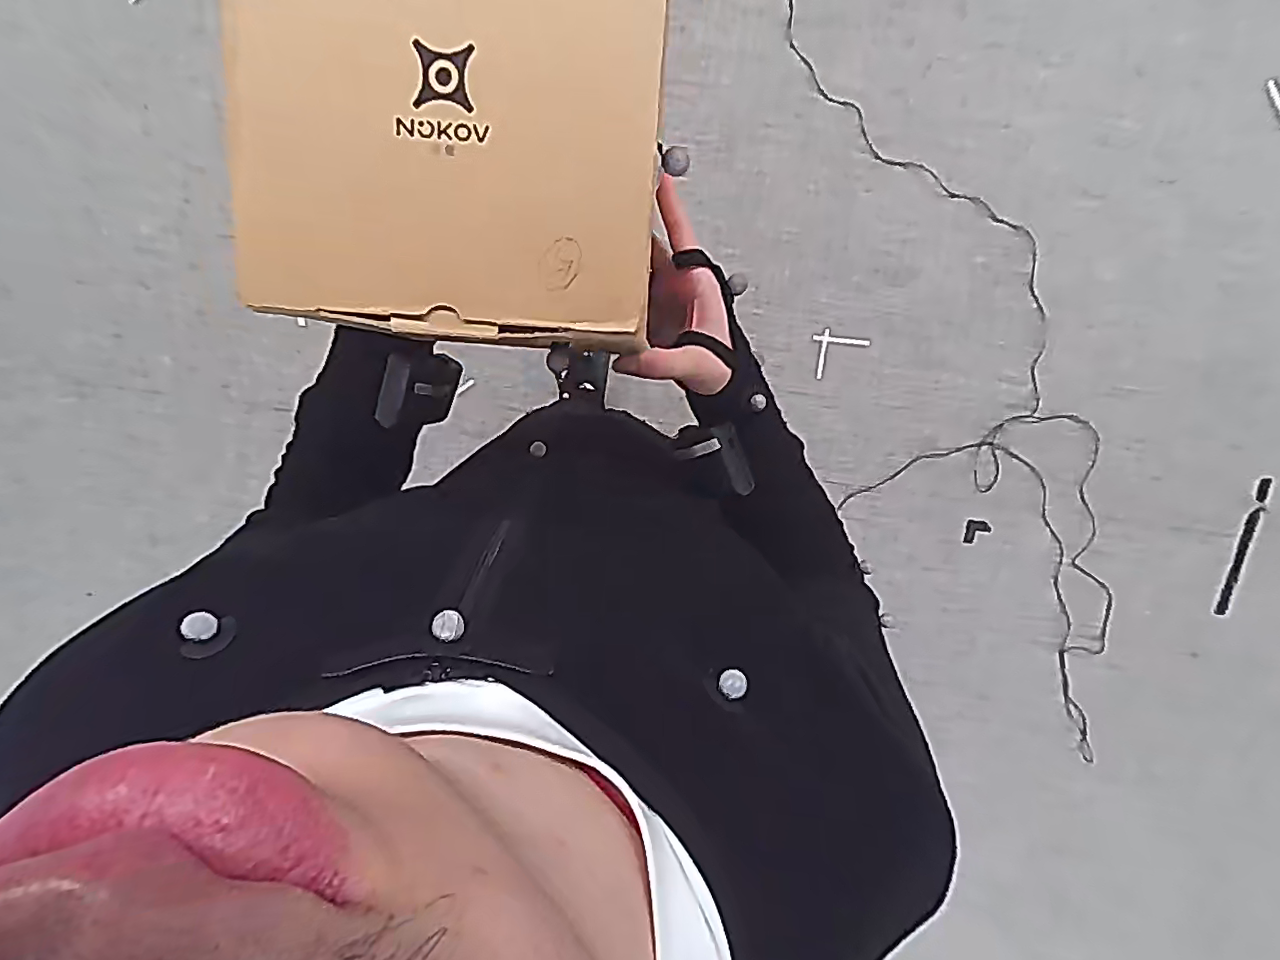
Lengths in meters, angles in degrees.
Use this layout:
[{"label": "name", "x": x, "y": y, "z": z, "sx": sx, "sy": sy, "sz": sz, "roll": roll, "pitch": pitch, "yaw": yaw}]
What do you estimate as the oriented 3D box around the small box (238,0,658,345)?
[{"label": "small box", "x": -0.078, "y": -0.171, "z": 0.297, "sx": 0.168, "sy": 0.176, "sz": 0.179, "roll": 4, "pitch": 100, "yaw": -2}]
